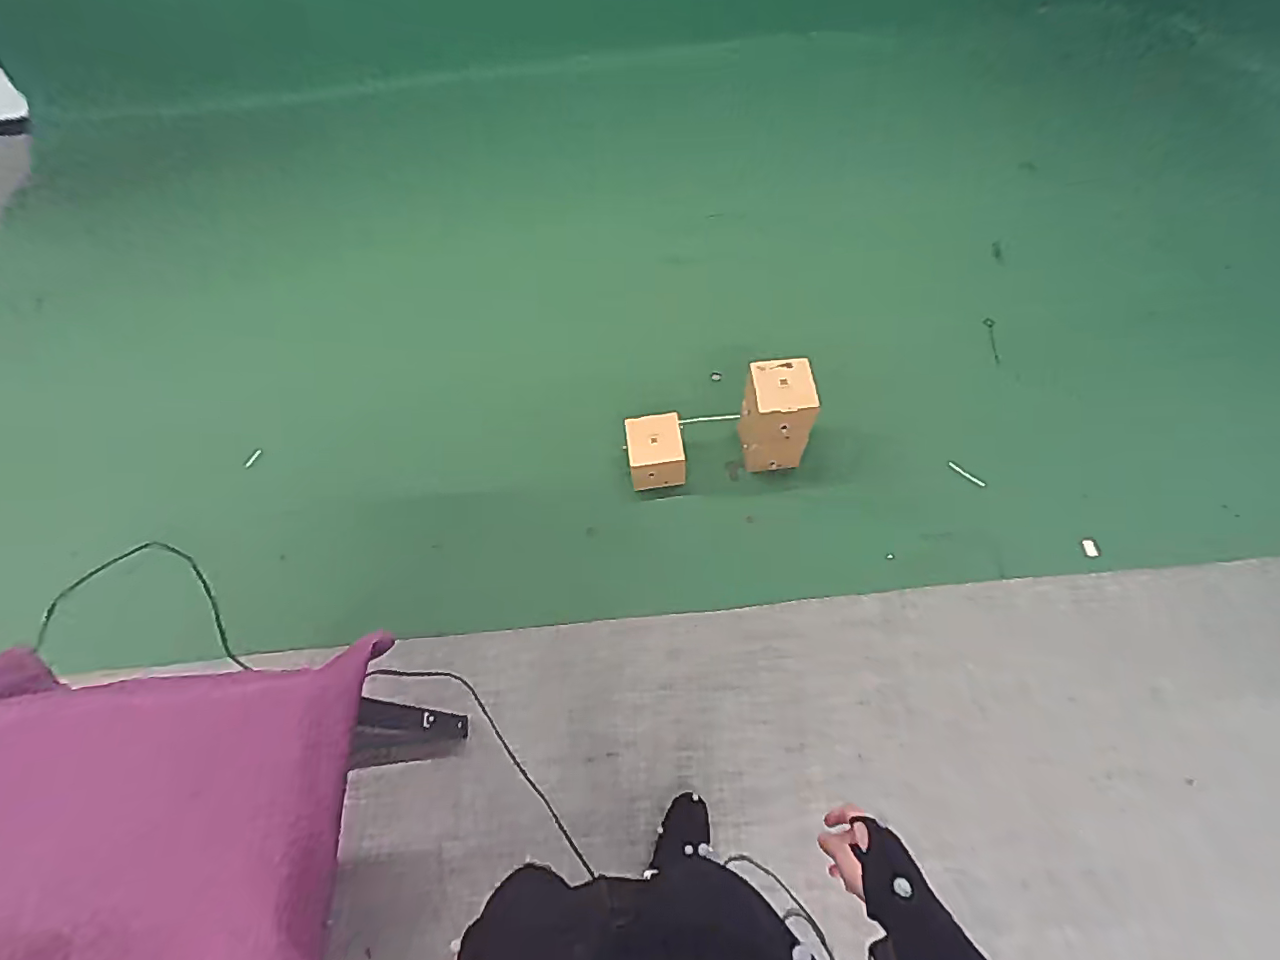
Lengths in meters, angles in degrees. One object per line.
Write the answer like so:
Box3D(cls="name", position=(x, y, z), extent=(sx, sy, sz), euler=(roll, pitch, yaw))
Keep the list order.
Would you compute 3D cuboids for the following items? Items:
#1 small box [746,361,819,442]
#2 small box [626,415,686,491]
Box3D(cls="small box", position=(0.405, -0.220, 1.565), extent=(0.168, 0.176, 0.179), euler=(-4, 63, 2))
Box3D(cls="small box", position=(0.052, -0.077, 1.706), extent=(0.168, 0.176, 0.179), euler=(-8, 61, 0))
